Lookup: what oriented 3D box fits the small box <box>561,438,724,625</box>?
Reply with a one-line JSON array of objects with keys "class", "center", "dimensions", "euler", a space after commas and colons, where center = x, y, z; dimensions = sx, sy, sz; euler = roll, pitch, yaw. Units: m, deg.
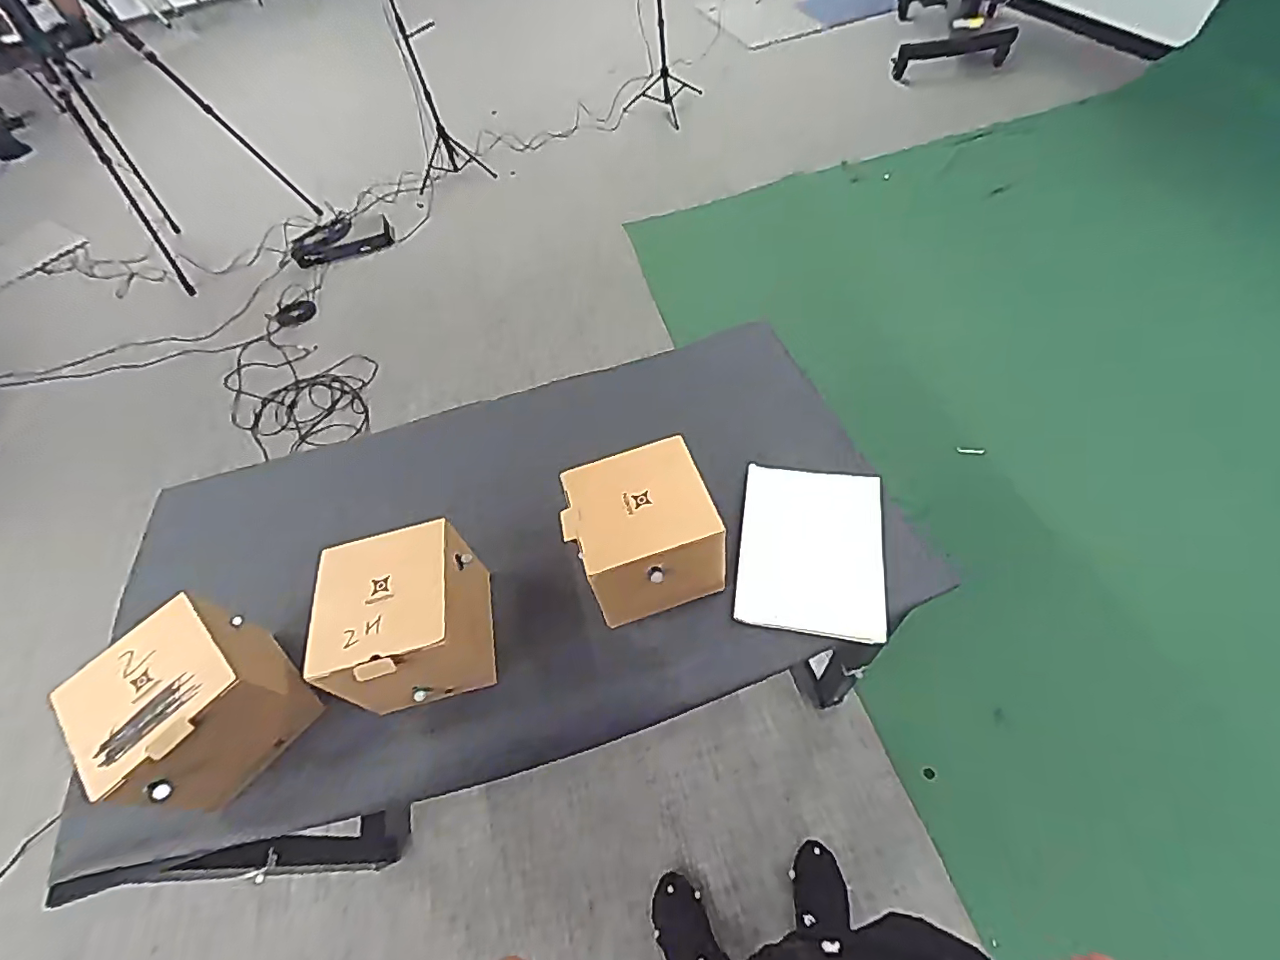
[{"class": "small box", "center": [0.007, 0.076, 0.750], "dimensions": [0.179, 0.176, 0.168], "euler": [-19, 53, -3]}]

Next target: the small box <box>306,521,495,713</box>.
[{"class": "small box", "center": [-0.304, 0.186, 0.723], "dimensions": [0.168, 0.176, 0.179], "euler": [-15, 53, -1]}]
